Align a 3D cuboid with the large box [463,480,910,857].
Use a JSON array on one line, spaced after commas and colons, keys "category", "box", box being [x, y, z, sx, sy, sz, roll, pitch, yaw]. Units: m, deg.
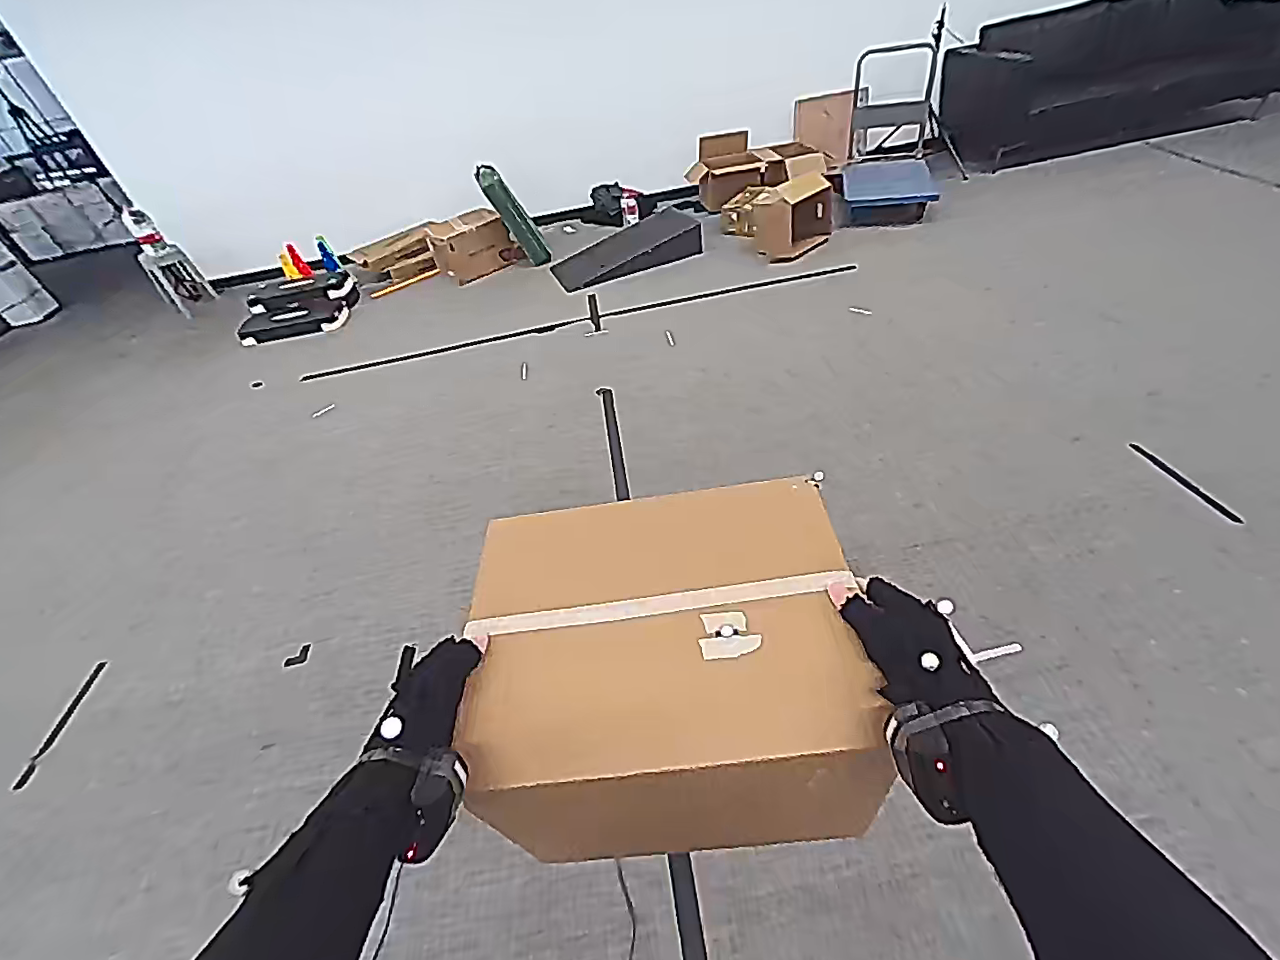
[{"category": "large box", "box": [0.045, 0.238, 0.677, 0.408, 0.320, 0.320, -8, 45, 3]}]
